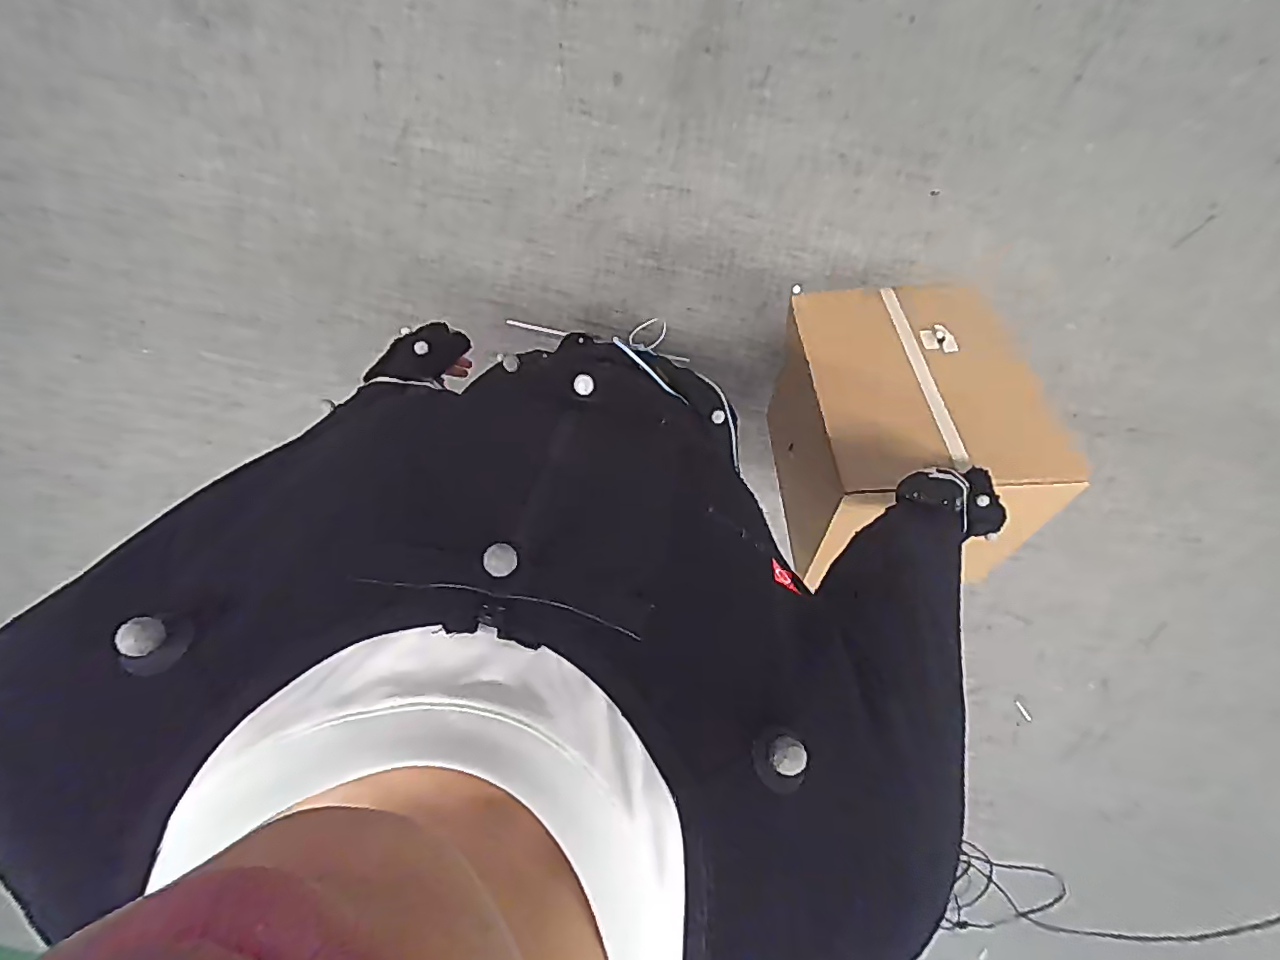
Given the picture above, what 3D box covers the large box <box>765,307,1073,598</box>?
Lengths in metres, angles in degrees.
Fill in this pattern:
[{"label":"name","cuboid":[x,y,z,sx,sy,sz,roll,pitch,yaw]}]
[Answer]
[{"label":"large box","cuboid":[0.418,-0.045,0.943,0.320,0.408,0.320,-2,143,1]}]
